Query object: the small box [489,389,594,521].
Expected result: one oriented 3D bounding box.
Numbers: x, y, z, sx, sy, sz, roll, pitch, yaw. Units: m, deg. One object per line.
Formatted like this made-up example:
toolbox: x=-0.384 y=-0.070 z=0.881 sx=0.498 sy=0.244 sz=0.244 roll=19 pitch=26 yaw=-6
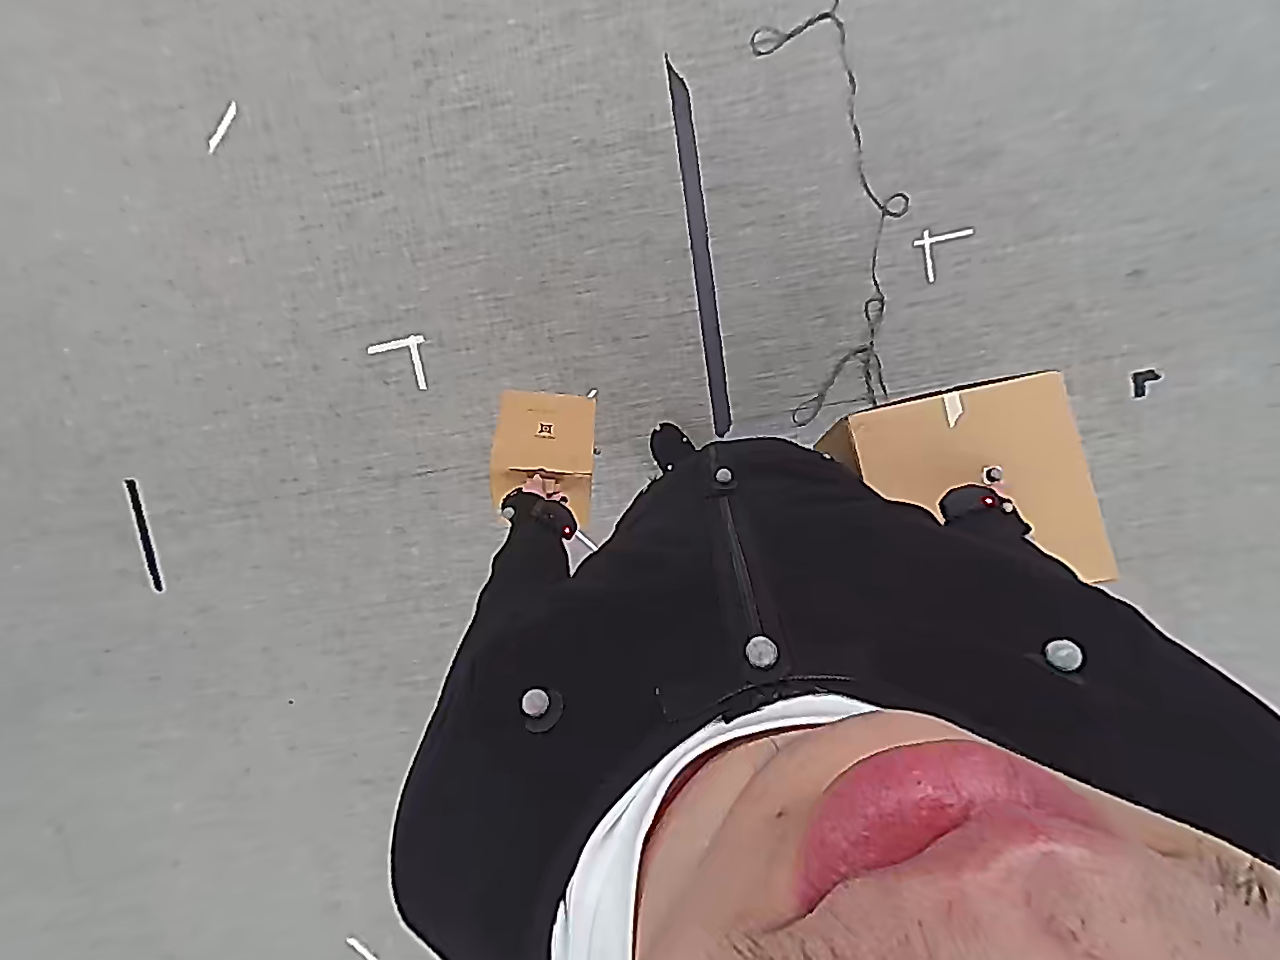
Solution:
small box: x=-0.174 y=-0.039 z=0.985 sx=0.168 sy=0.176 sz=0.179 roll=4 pitch=55 yaw=-8
